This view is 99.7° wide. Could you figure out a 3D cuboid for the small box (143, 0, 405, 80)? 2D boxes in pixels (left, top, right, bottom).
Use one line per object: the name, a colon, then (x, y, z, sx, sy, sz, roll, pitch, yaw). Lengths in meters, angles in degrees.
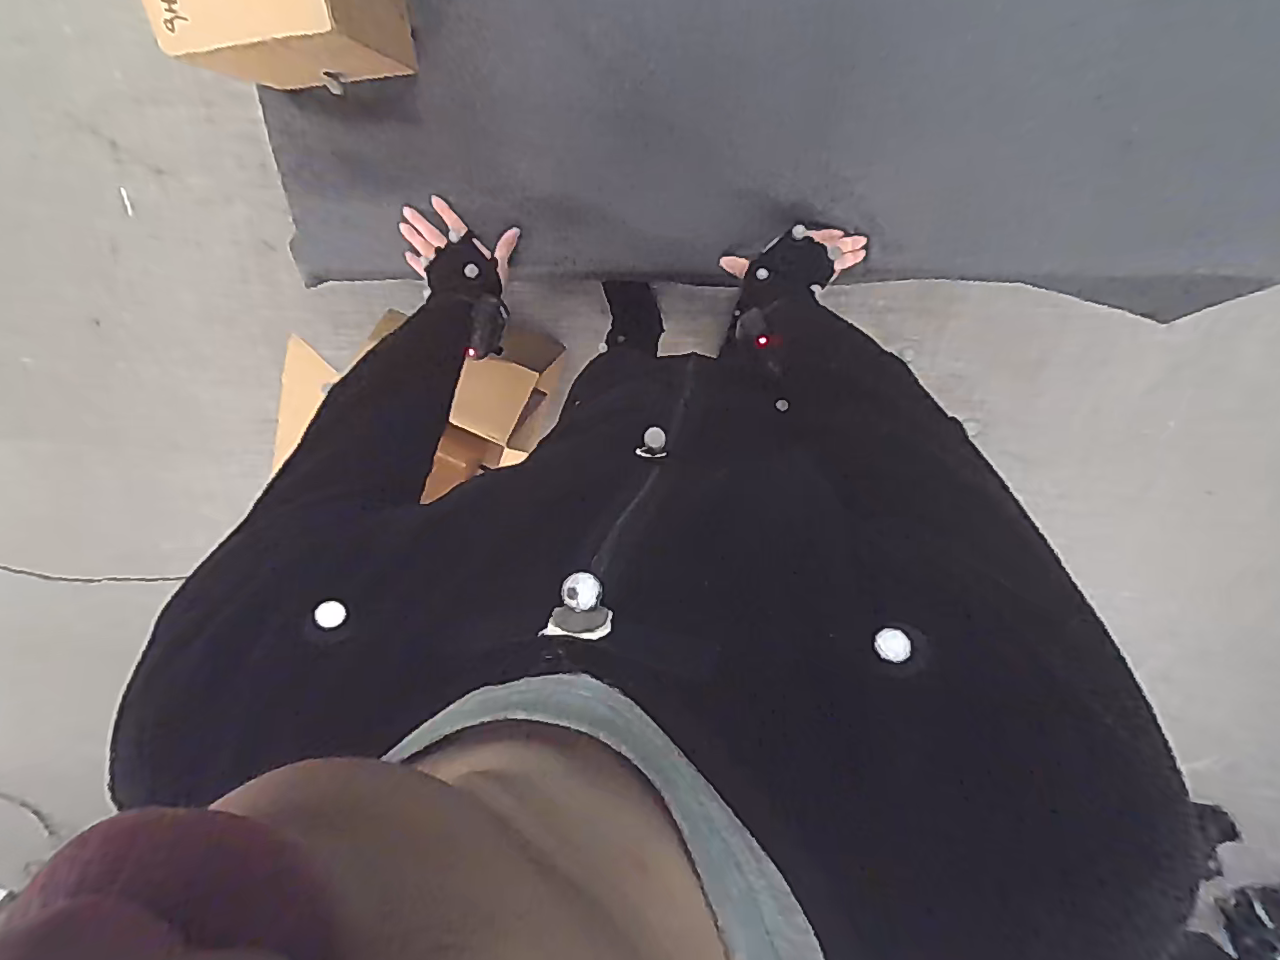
small box: (-0.351, -0.505, 0.517, 0.179, 0.176, 0.168, -2, 116, 7)
